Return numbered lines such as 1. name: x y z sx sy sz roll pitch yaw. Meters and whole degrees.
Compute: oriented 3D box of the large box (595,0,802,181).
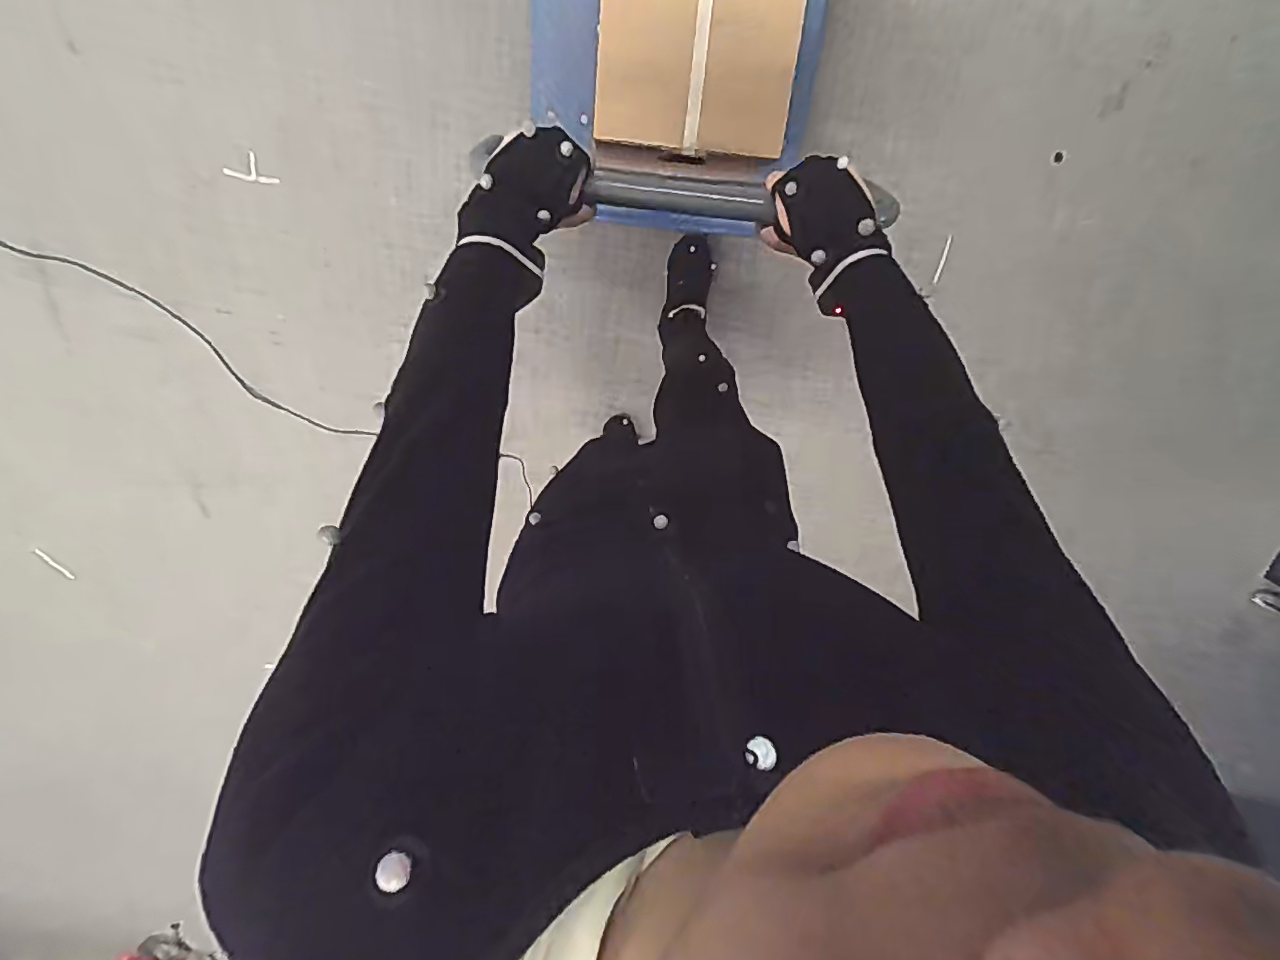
1. large box: 0.094 -0.789 0.961 0.320 0.320 0.408 5 110 -3
